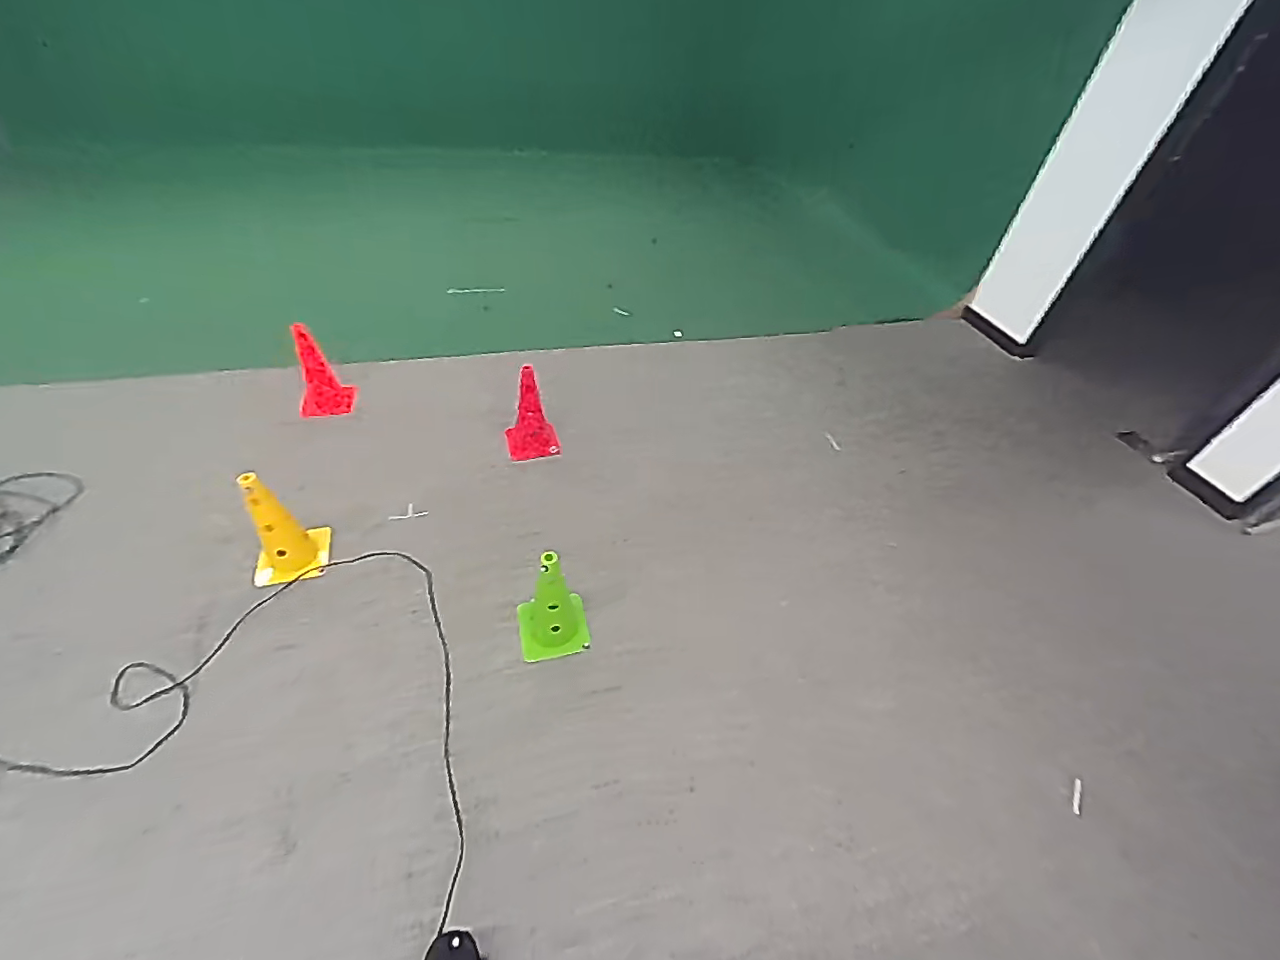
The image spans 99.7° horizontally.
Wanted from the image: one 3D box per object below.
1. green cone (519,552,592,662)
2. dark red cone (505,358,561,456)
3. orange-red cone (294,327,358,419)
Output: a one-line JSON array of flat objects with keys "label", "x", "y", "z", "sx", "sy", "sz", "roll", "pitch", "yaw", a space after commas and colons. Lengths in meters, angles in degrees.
[{"label": "green cone", "x": -0.248, "y": 0.322, "z": 1.516, "sx": 0.202, "sy": 0.368, "sz": 0.200, "roll": -9, "pitch": 46, "yaw": -13}, {"label": "dark red cone", "x": -0.423, "y": -0.291, "z": 2.074, "sx": 0.202, "sy": 0.394, "sz": 0.201, "roll": -11, "pitch": 46, "yaw": -17}, {"label": "orange-red cone", "x": -1.298, "y": -0.445, "z": 2.166, "sx": 0.198, "sy": 0.360, "sz": 0.199, "roll": -8, "pitch": 47, "yaw": -12}]
